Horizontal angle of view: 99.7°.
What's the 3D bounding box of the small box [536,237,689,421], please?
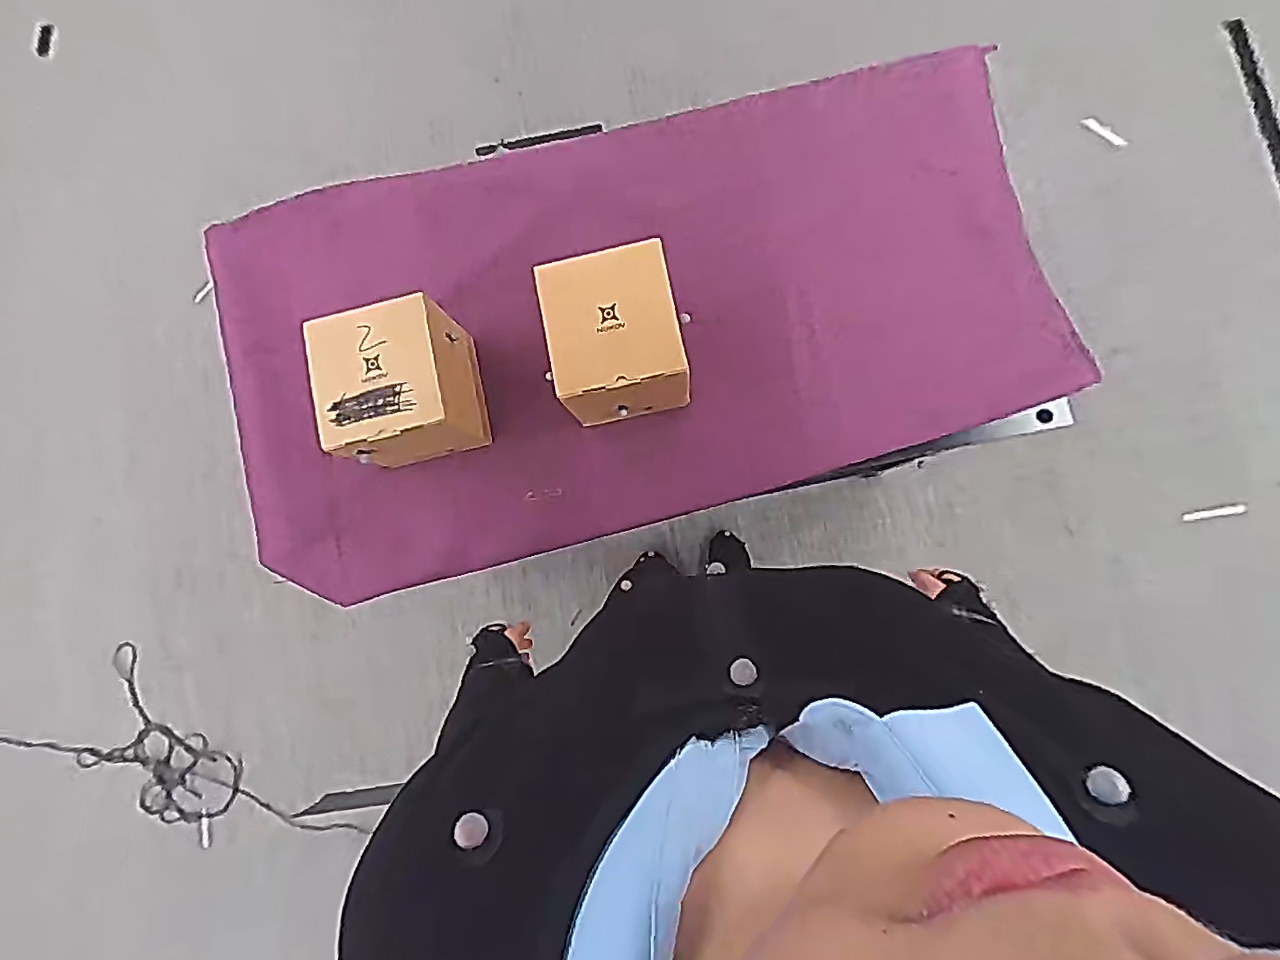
[{"bbox_3d":[-0.031,-0.195,0.743,0.168,0.176,0.179,-12,84,4],"label":"small box"}]
